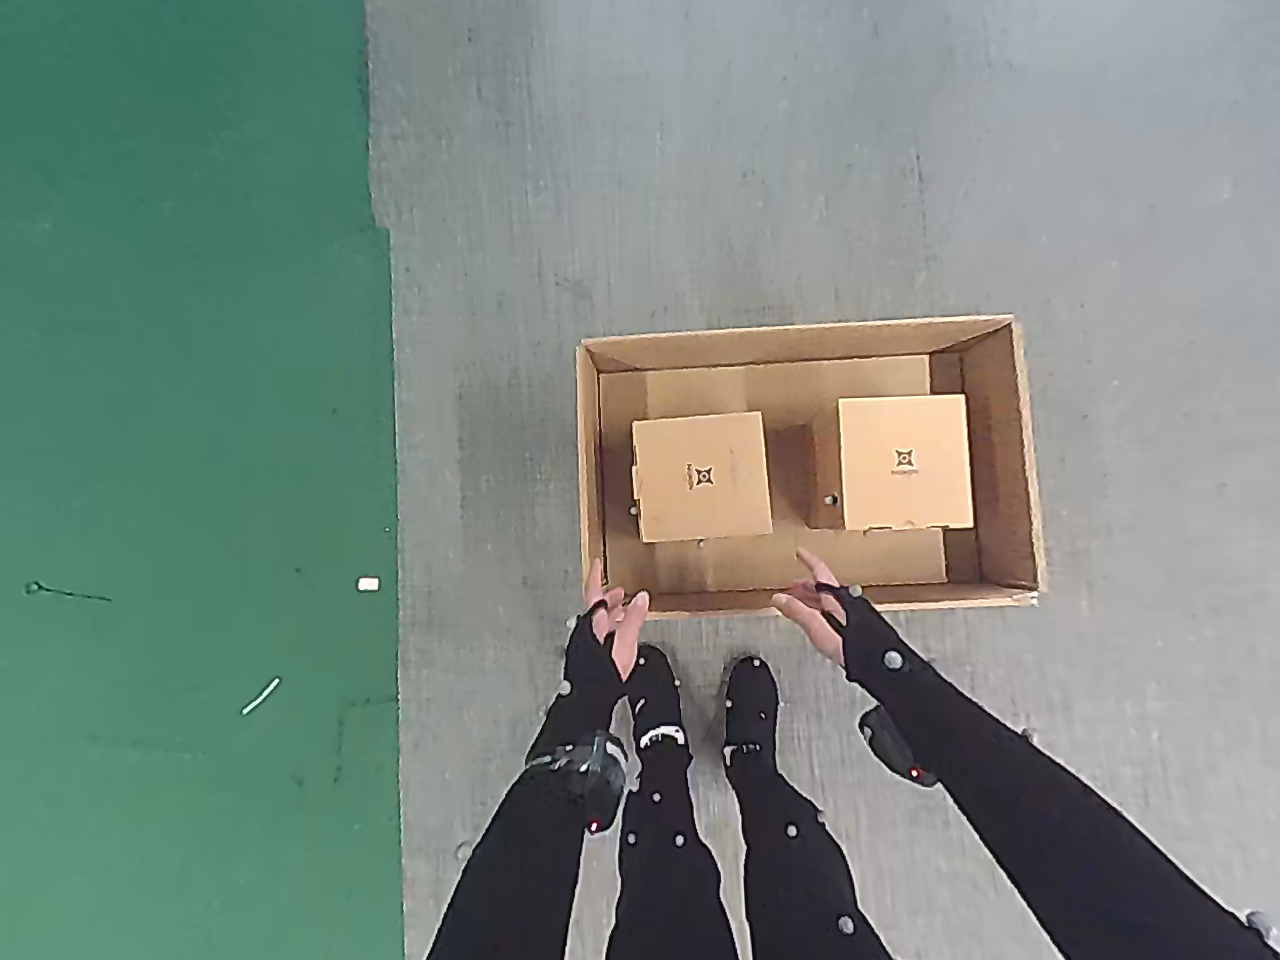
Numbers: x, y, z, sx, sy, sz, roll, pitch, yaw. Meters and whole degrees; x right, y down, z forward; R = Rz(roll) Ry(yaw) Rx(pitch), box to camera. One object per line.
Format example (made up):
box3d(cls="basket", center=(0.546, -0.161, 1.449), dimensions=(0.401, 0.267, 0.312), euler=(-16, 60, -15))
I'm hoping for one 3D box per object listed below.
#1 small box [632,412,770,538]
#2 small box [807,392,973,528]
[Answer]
box3d(cls="small box", center=(0.084, 0.001, 0.795), dimensions=(0.179, 0.176, 0.168), euler=(-3, 86, 1))
box3d(cls="small box", center=(0.346, -0.020, 0.781), dimensions=(0.168, 0.176, 0.179), euler=(-2, 86, 3))
